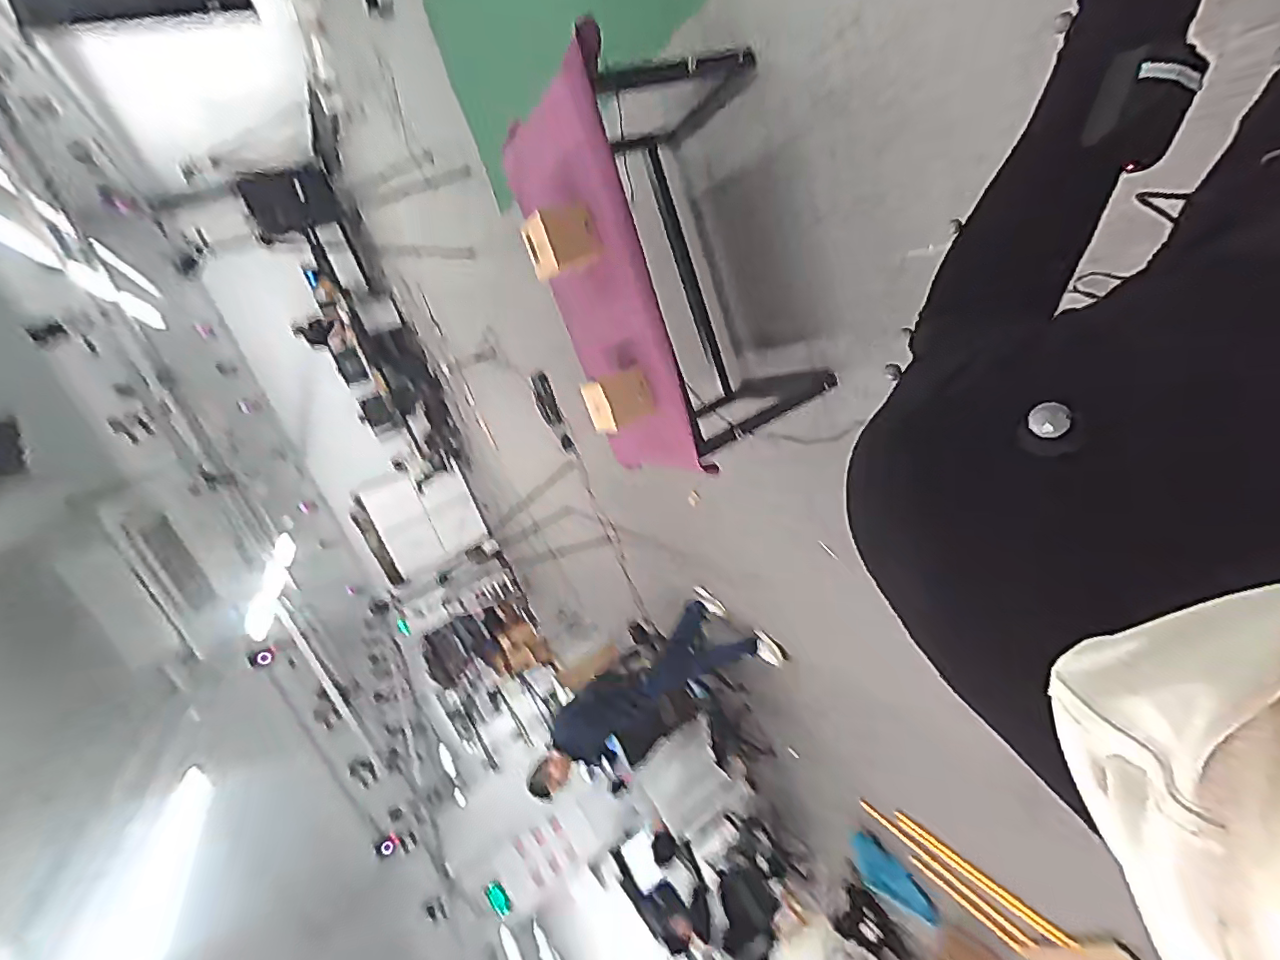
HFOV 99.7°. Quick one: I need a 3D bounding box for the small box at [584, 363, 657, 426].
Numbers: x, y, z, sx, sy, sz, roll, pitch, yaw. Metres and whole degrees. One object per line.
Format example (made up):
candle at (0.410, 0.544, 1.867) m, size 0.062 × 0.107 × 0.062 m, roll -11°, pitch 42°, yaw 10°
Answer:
small box at (-0.066, -0.296, 1.871) m, size 0.179 × 0.176 × 0.168 m, roll 11°, pitch 124°, yaw 60°
